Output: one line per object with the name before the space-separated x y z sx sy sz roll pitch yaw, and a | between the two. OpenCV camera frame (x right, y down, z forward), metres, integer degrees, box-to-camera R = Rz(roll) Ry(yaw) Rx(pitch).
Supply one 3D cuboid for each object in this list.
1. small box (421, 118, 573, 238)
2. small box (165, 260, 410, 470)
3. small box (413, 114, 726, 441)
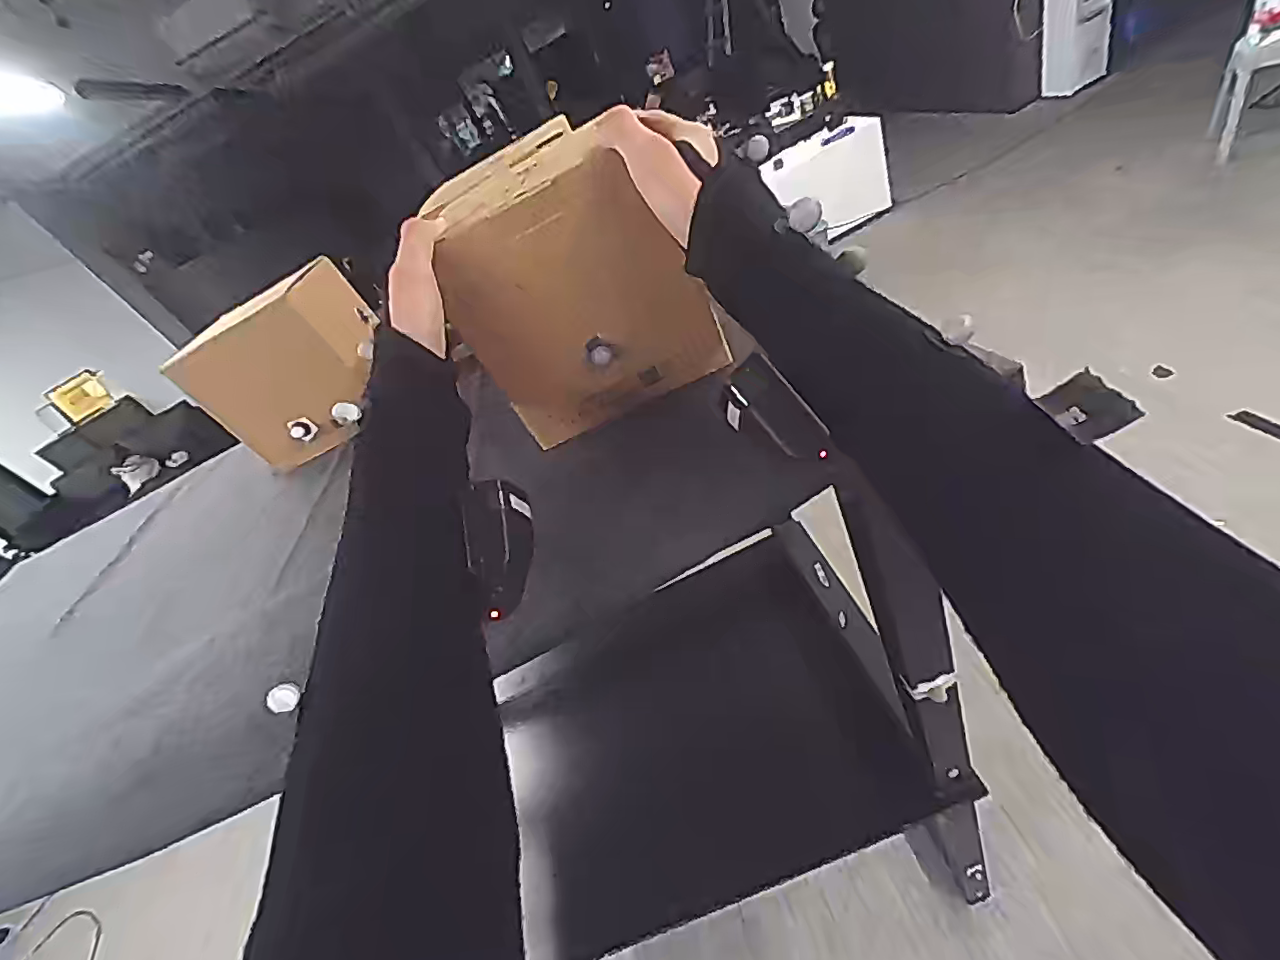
small box | -0.113 -0.269 0.612 0.168 0.176 0.179 -24 39 10
small box | -0.419 -0.144 0.683 0.168 0.176 0.179 -28 37 6
small box | -0.046 -0.163 0.442 0.168 0.176 0.179 -24 37 11
